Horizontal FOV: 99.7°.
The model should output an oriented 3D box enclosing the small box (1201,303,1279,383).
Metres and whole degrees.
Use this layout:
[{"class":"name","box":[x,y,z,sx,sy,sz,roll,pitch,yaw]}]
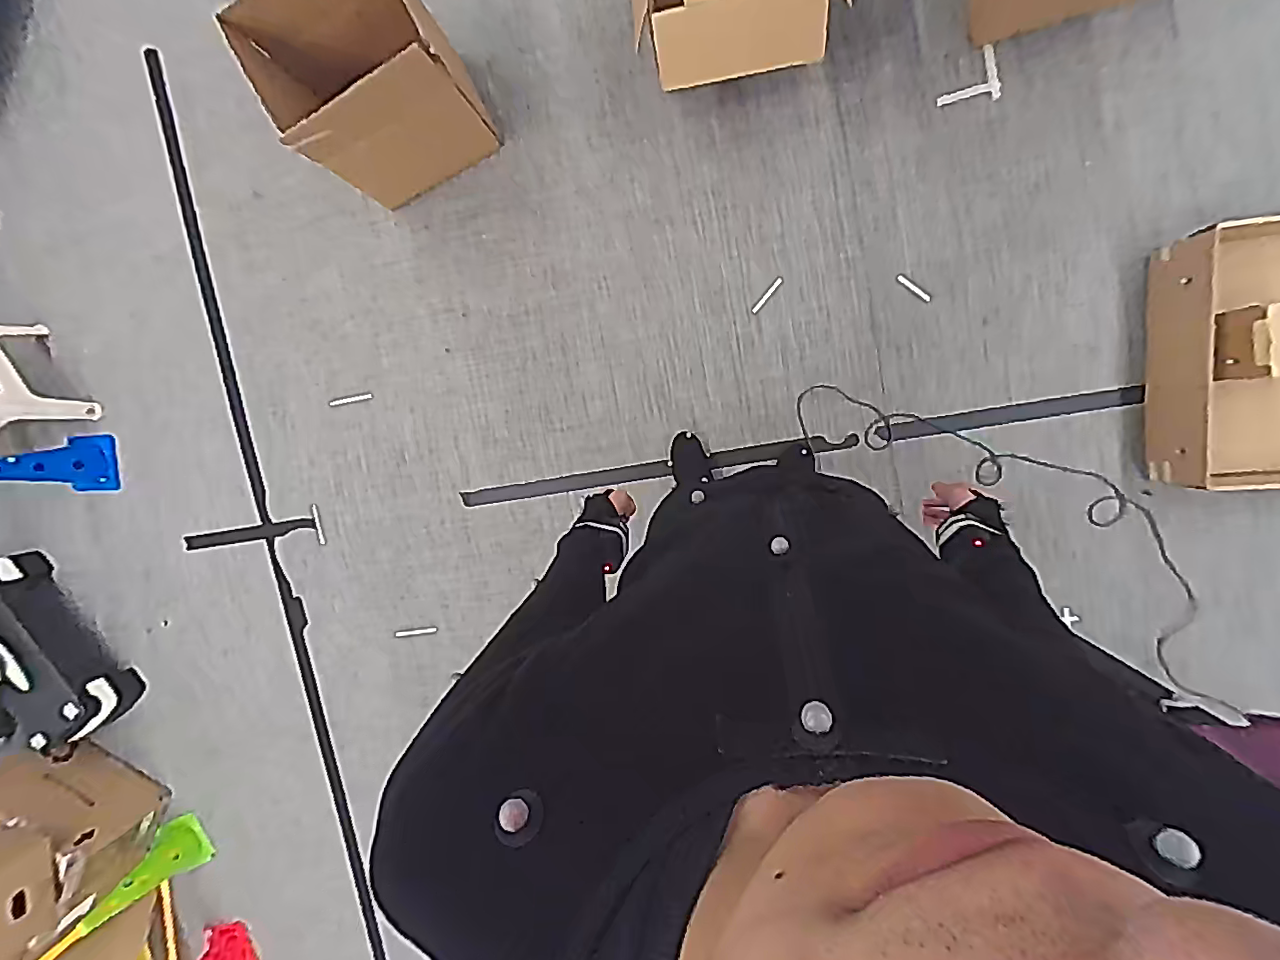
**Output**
[{"class":"small box","box":[1.490,-0.329,1.282,0.179,0.176,0.168,-9,96,9]}]
